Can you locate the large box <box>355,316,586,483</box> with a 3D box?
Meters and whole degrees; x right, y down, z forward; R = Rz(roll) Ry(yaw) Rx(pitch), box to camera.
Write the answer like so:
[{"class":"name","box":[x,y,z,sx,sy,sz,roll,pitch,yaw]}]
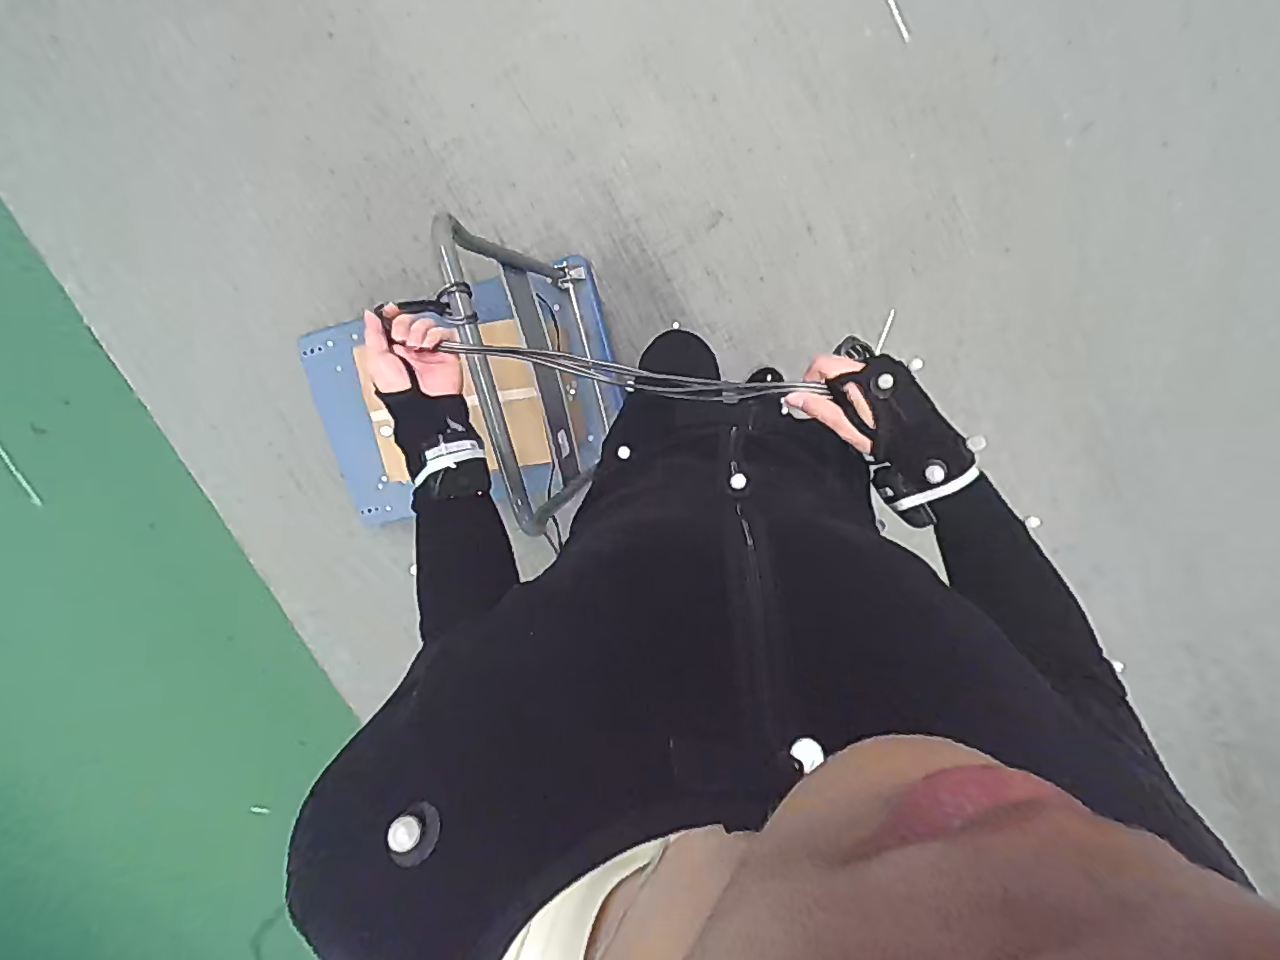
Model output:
[{"class":"large box","box":[-0.380,-0.203,1.313,0.408,0.320,0.320,-7,103,10]}]
